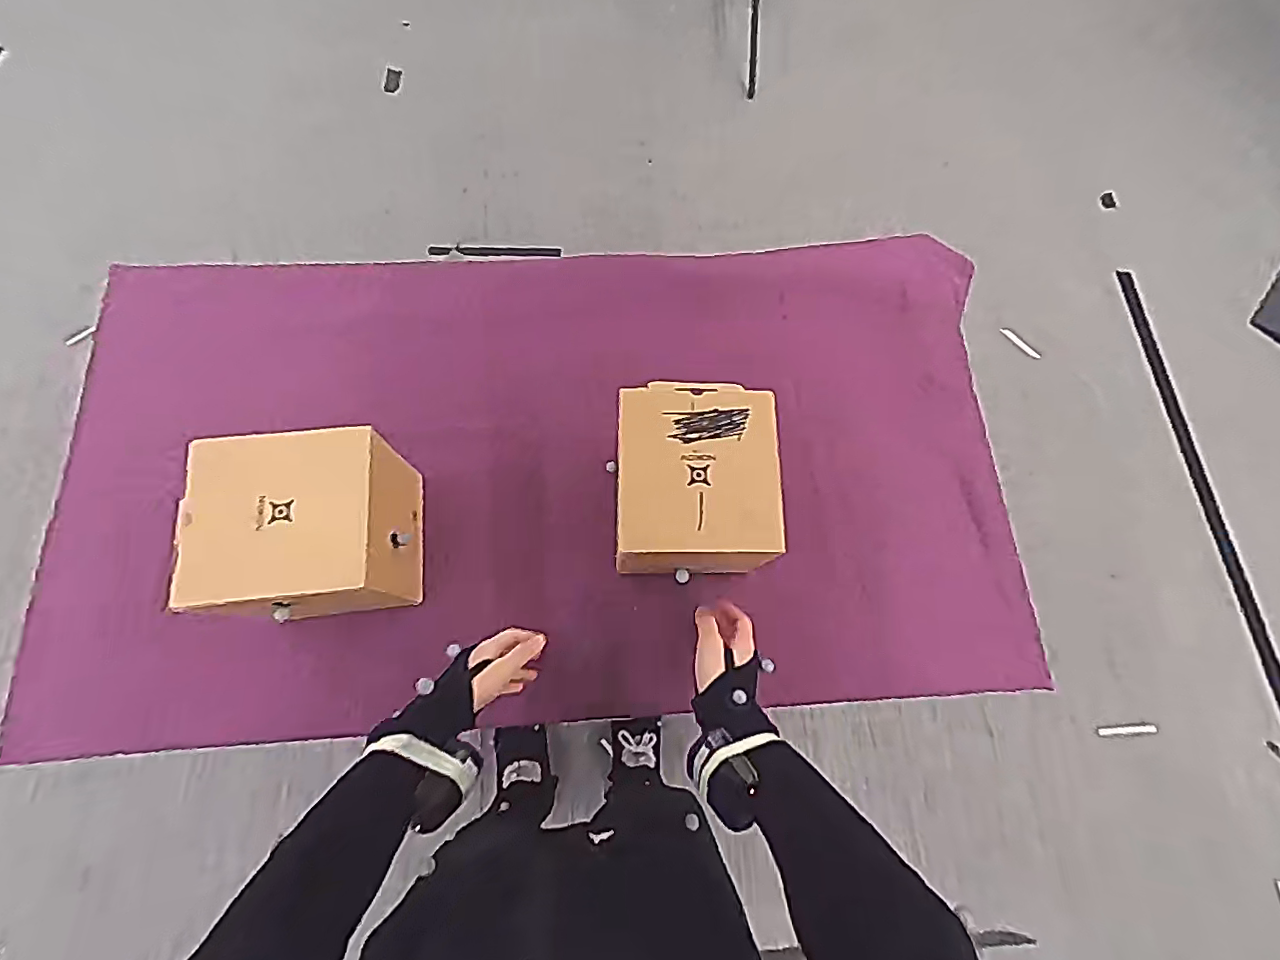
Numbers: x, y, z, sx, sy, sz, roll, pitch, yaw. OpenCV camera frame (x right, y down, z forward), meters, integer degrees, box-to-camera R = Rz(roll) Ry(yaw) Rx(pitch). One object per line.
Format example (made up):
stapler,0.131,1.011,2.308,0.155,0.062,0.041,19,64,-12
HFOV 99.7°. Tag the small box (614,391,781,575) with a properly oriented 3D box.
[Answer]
small box,0.055,0.013,0.631,0.168,0.176,0.179,1,74,-2

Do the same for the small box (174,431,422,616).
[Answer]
small box,-0.352,0.056,0.597,0.179,0.176,0.168,-6,73,-4
